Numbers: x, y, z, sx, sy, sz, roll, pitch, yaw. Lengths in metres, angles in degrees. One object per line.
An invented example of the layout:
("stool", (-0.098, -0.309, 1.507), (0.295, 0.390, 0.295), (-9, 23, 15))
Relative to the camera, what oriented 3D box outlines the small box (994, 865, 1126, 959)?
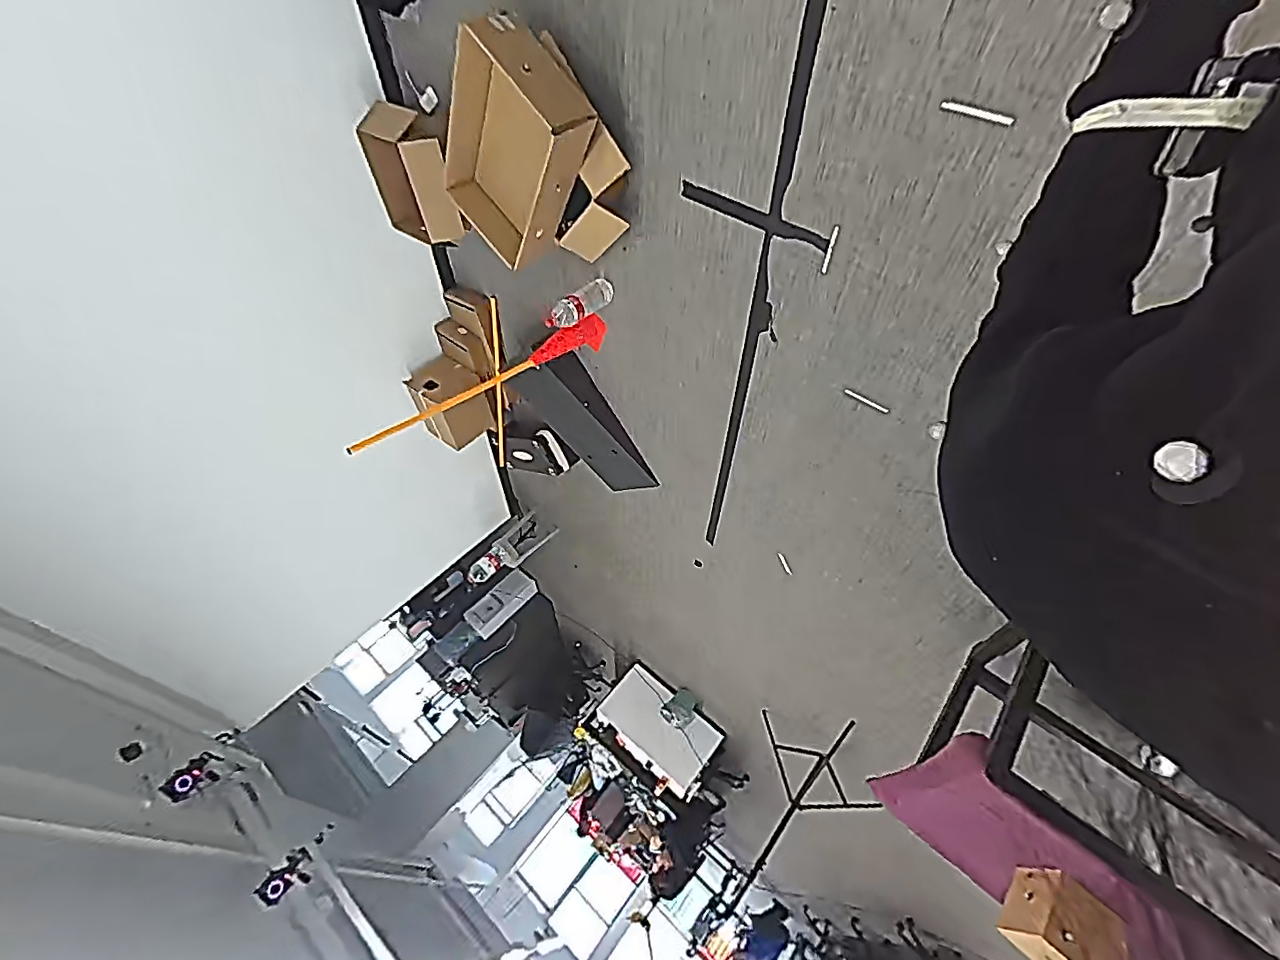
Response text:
("small box", (1.027, 1.087, 1.325), (0.179, 0.176, 0.168), (38, 151, 17))
